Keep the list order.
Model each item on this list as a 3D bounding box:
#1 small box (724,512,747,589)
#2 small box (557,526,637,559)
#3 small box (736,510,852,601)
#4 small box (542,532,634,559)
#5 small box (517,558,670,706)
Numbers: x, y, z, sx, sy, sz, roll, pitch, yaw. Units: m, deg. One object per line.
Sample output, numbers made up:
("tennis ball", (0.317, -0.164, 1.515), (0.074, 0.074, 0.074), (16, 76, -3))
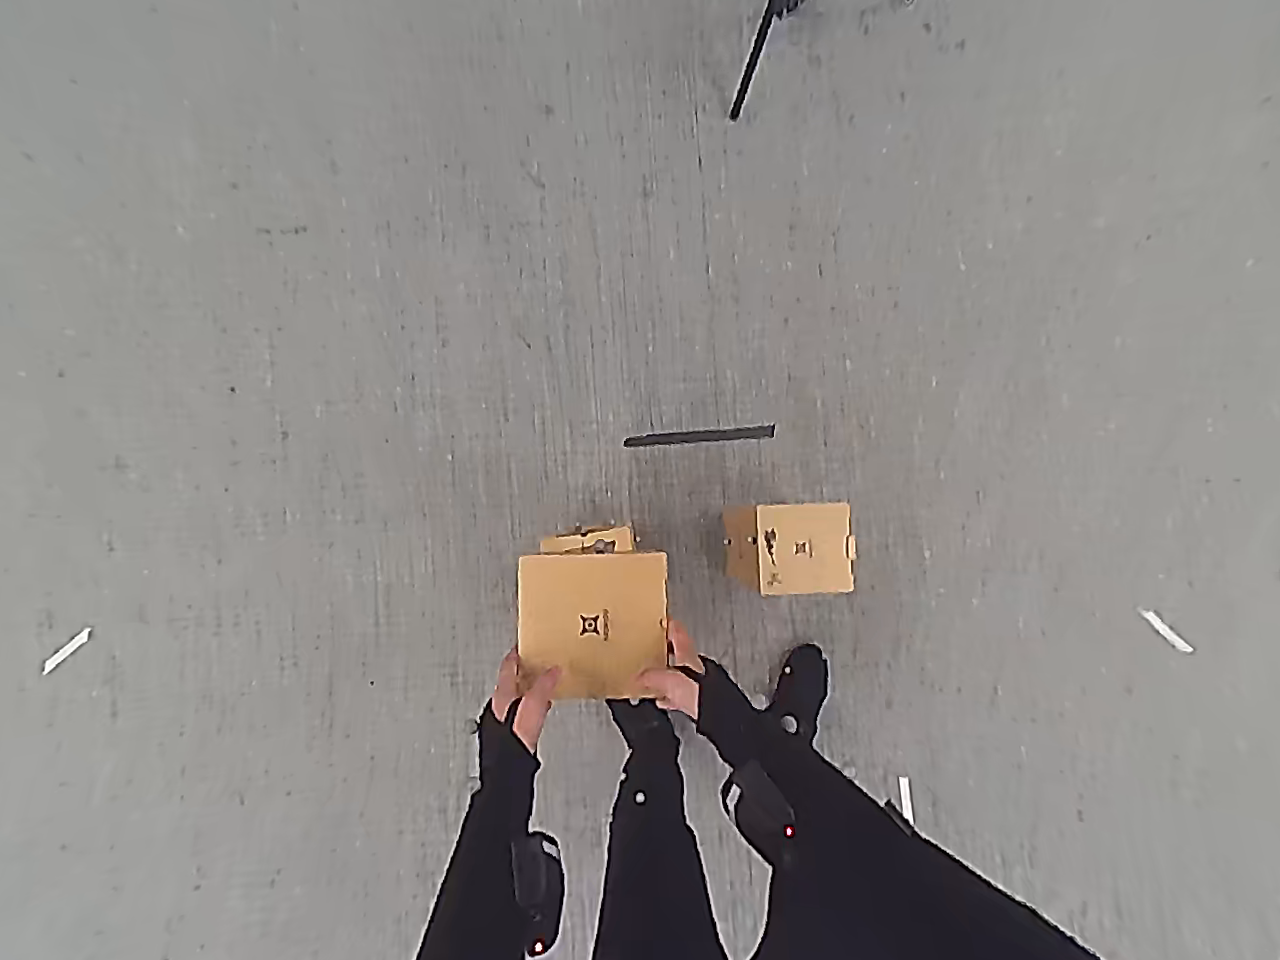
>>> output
("small box", (0.290, 0.156, 1.231), (0.179, 0.176, 0.168), (-2, 86, -3))
("small box", (-0.089, 0.201, 1.215), (0.168, 0.176, 0.179), (-9, 86, -2))
("small box", (0.296, 0.143, 1.068), (0.179, 0.176, 0.168), (-1, 85, -3))
("small box", (-0.091, 0.195, 1.051), (0.168, 0.176, 0.179), (-7, 87, -2))
("small box", (-0.057, 0.186, 0.701), (0.179, 0.176, 0.168), (0, 82, -5))
